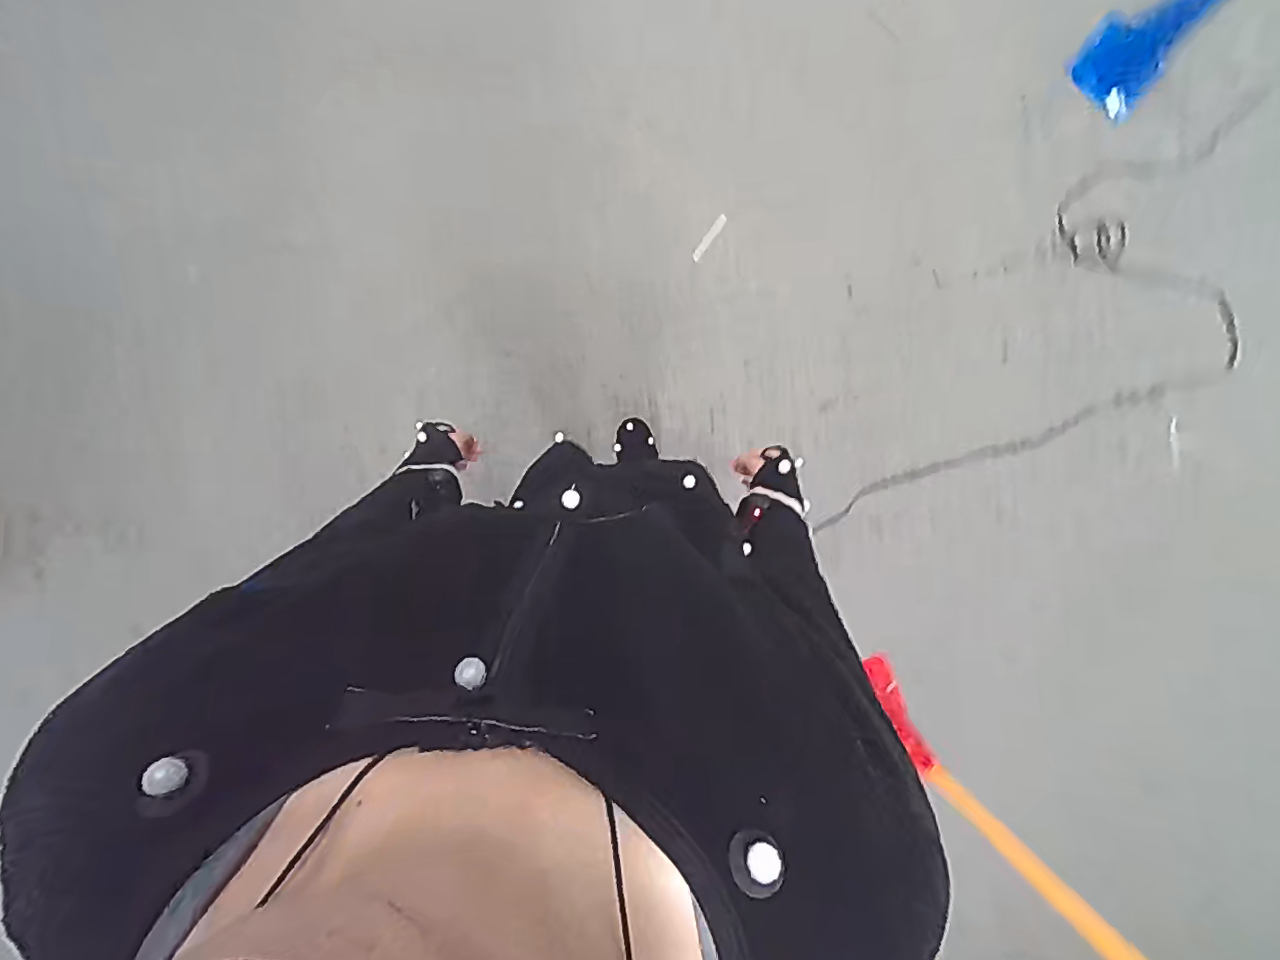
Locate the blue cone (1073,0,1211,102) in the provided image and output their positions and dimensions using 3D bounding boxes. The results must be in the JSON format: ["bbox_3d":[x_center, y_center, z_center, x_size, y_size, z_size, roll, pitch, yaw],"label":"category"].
[{"bbox_3d":[1.243,-1.093,1.246,0.193,0.380,0.192,37,94,0],"label":"blue cone"}]
